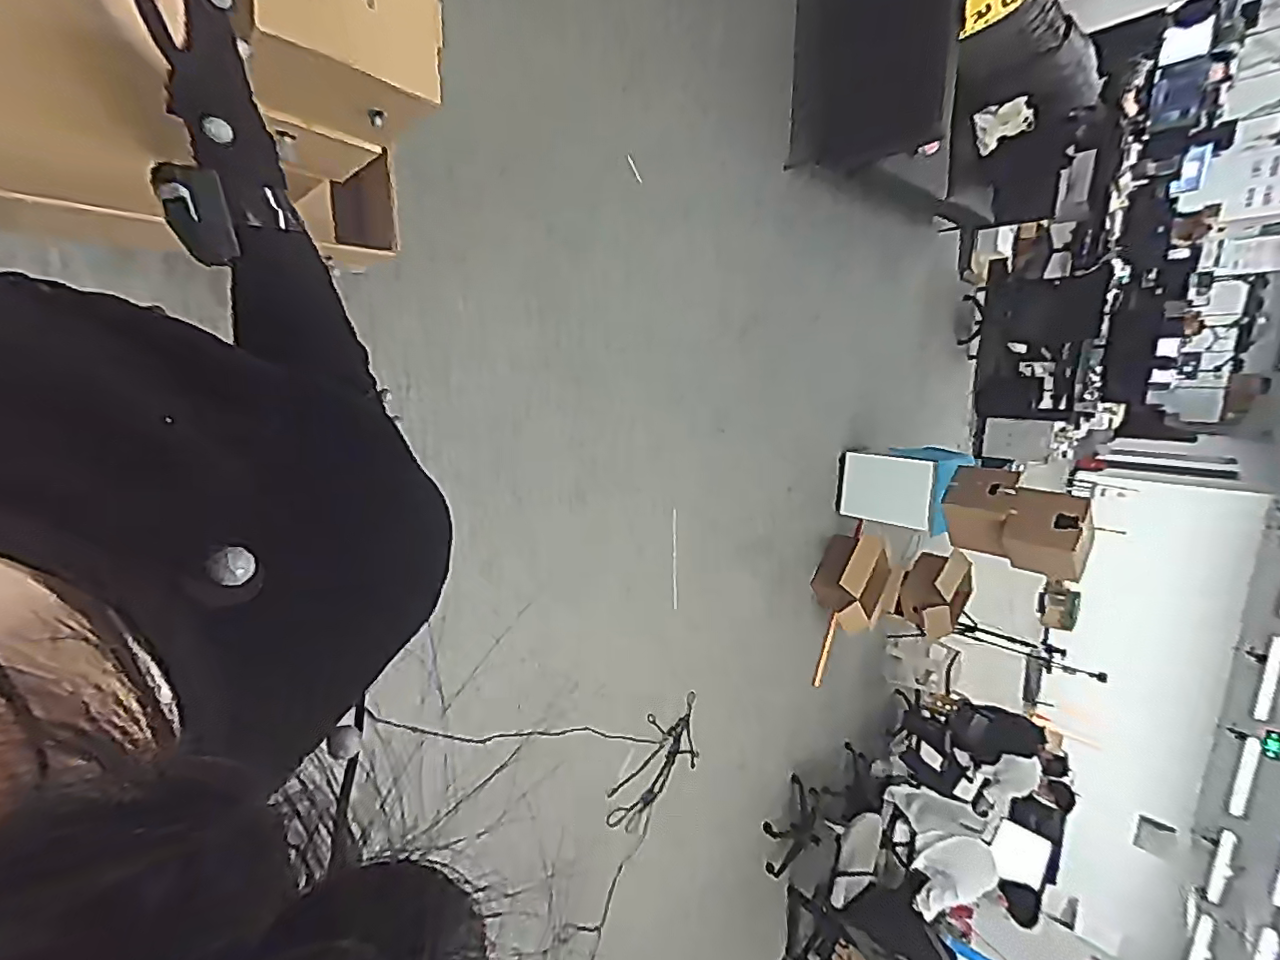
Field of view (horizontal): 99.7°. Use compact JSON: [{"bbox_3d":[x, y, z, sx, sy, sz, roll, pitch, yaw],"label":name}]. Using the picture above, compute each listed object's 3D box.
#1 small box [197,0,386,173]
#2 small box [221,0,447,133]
[{"bbox_3d":[-0.444,-0.517,0.687,0.179,0.176,0.168,-5,102,-45],"label":"small box"},{"bbox_3d":[-0.326,-0.502,0.576,0.179,0.176,0.168,-5,102,-43],"label":"small box"}]
